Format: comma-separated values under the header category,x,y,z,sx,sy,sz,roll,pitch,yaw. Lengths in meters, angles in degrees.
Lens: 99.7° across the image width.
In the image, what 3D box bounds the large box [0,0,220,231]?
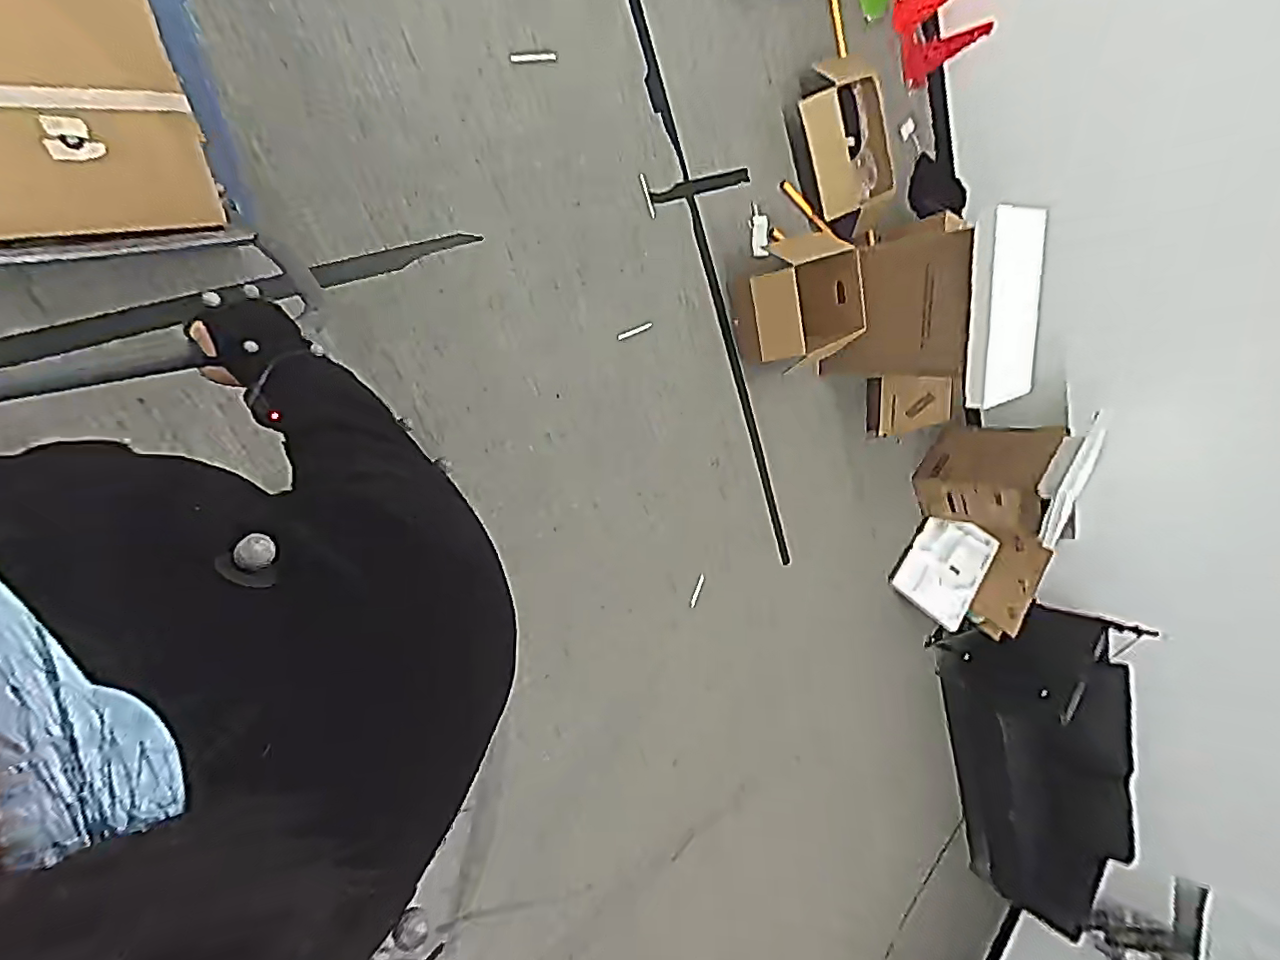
category,x,y,z,sx,sy,sz,roll,pitch,yaw
large box,-0.895,-0.530,0.739,0.408,0.320,0.320,-26,130,-34
